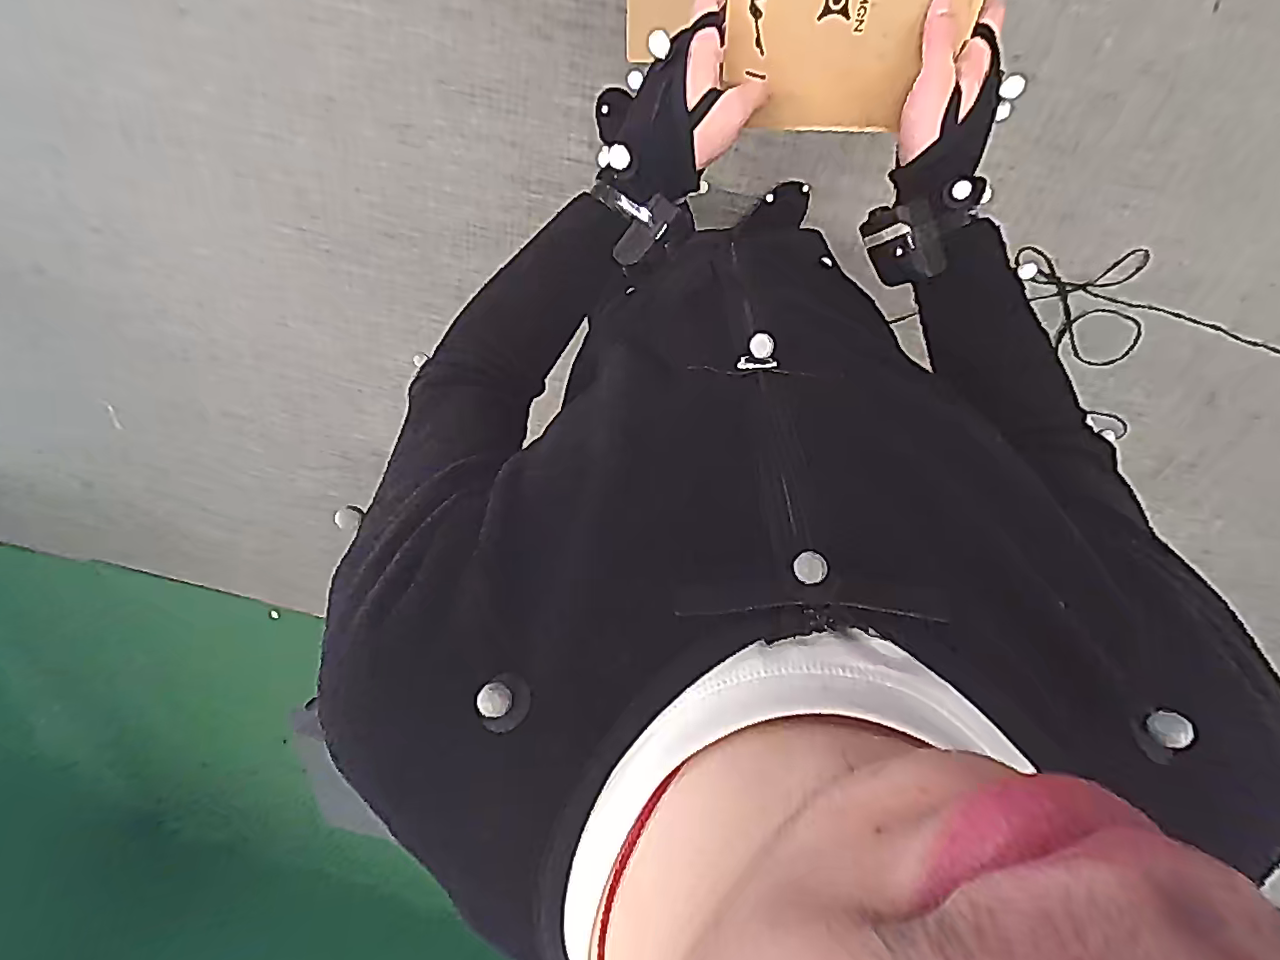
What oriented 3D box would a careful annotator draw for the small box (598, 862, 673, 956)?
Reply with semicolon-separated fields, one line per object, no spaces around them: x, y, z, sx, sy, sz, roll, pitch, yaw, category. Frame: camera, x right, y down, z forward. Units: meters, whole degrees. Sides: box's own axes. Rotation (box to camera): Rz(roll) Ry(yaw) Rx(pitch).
-0.011;1.297;1.643;0.179;0.176;0.168;16;126;1;small box

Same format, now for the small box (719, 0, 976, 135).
0.164;-0.406;0.436;0.179;0.176;0.168;7;144;9;small box
